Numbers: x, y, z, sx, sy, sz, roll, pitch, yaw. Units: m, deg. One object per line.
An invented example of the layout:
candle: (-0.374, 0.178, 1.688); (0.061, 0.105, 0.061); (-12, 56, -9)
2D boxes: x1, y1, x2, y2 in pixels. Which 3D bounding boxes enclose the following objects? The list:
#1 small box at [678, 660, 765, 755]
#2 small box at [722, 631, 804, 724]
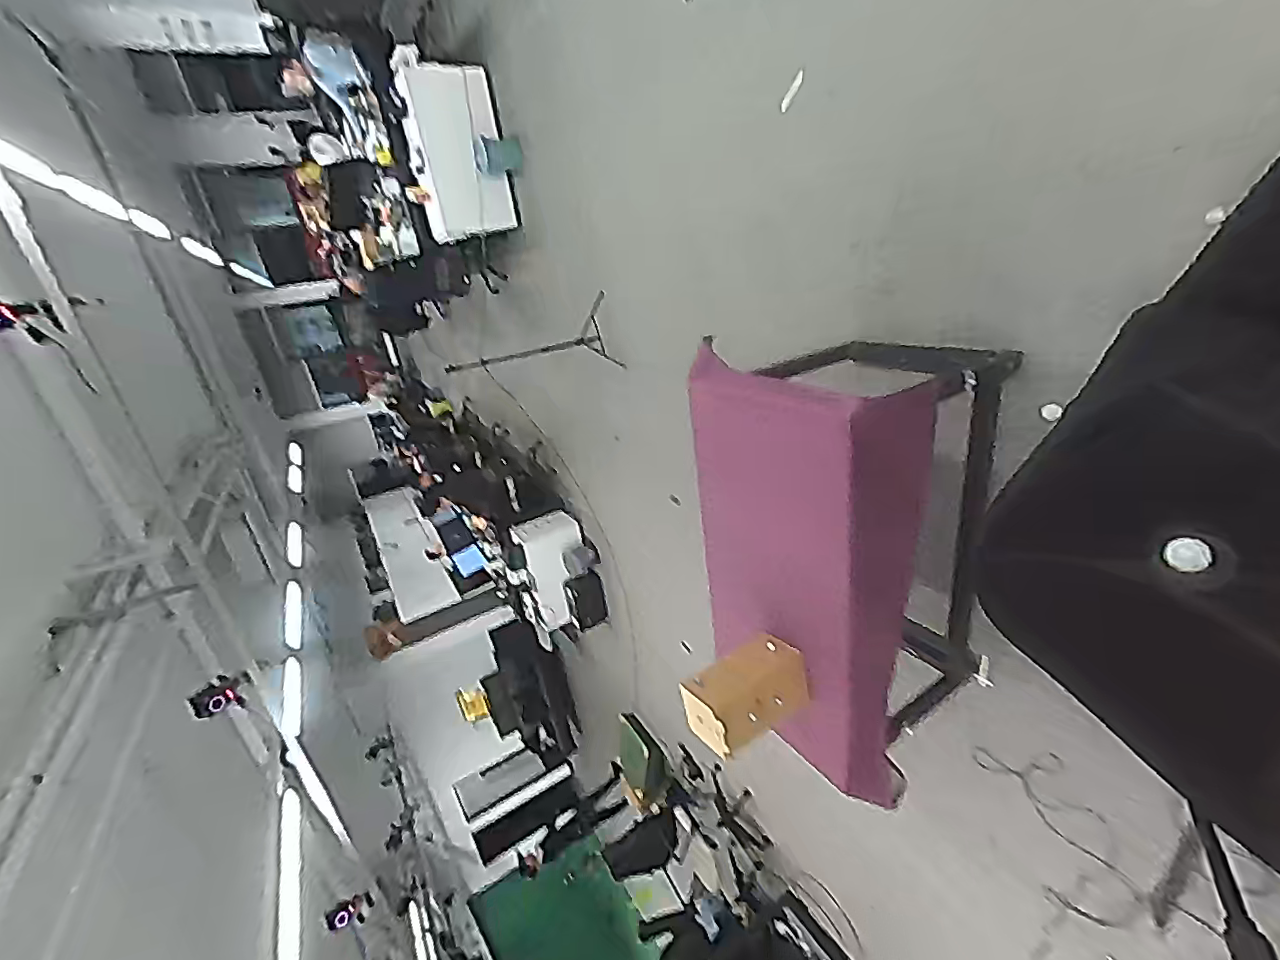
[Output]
small box: (0.238, 0.652, 1.581); (0.179, 0.176, 0.168); (11, 118, 60)
small box: (0.379, 0.594, 1.645); (0.168, 0.176, 0.179); (13, 119, 60)
